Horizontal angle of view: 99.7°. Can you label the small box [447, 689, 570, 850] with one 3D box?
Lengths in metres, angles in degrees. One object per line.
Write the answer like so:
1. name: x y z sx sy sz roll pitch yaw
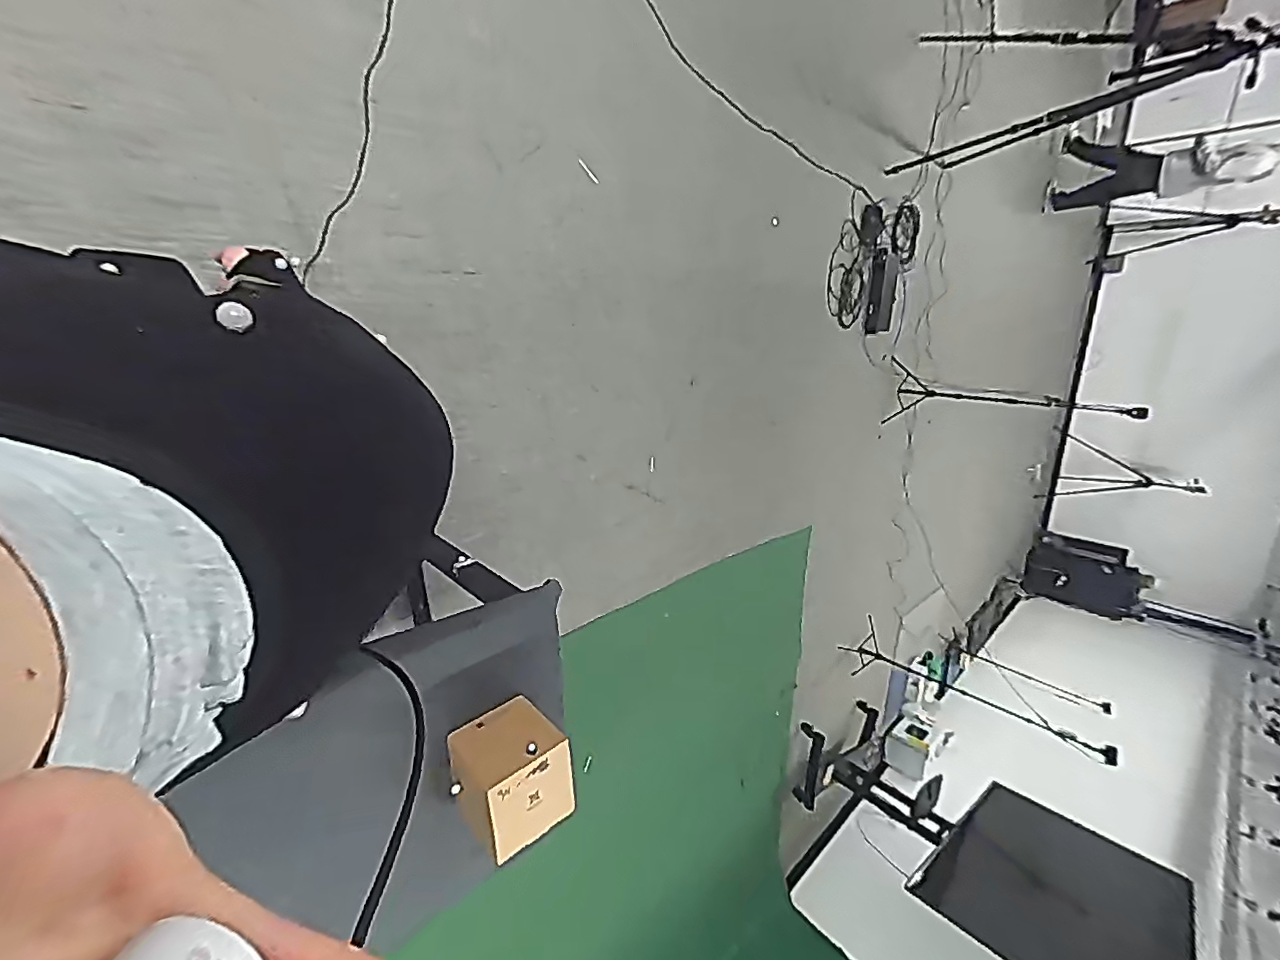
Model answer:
1. small box: -0.252 0.544 1.042 0.168 0.176 0.179 -19 117 -40
